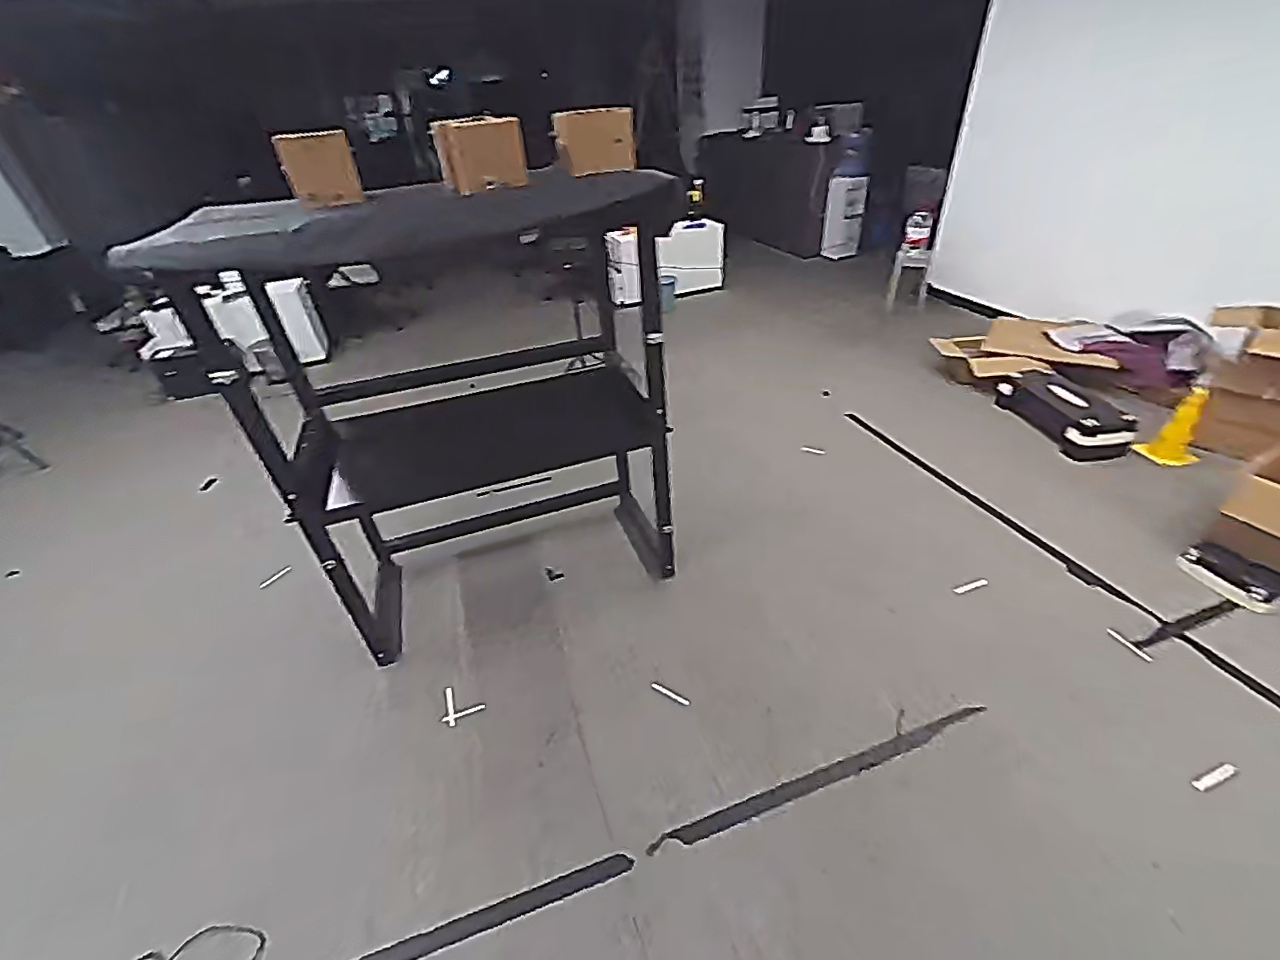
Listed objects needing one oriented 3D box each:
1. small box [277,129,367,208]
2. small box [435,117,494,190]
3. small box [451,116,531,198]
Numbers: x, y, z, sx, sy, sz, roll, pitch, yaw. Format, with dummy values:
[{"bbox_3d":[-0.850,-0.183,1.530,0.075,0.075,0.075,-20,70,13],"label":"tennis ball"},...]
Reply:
[{"bbox_3d":[-0.875,-0.865,1.503,0.168,0.176,0.179,-17,38,-17],"label":"small box"},{"bbox_3d":[-0.496,-0.974,1.609,0.179,0.176,0.168,-15,37,-14],"label":"small box"},{"bbox_3d":[-0.393,-0.852,1.428,0.168,0.176,0.179,-15,36,-12],"label":"small box"}]
